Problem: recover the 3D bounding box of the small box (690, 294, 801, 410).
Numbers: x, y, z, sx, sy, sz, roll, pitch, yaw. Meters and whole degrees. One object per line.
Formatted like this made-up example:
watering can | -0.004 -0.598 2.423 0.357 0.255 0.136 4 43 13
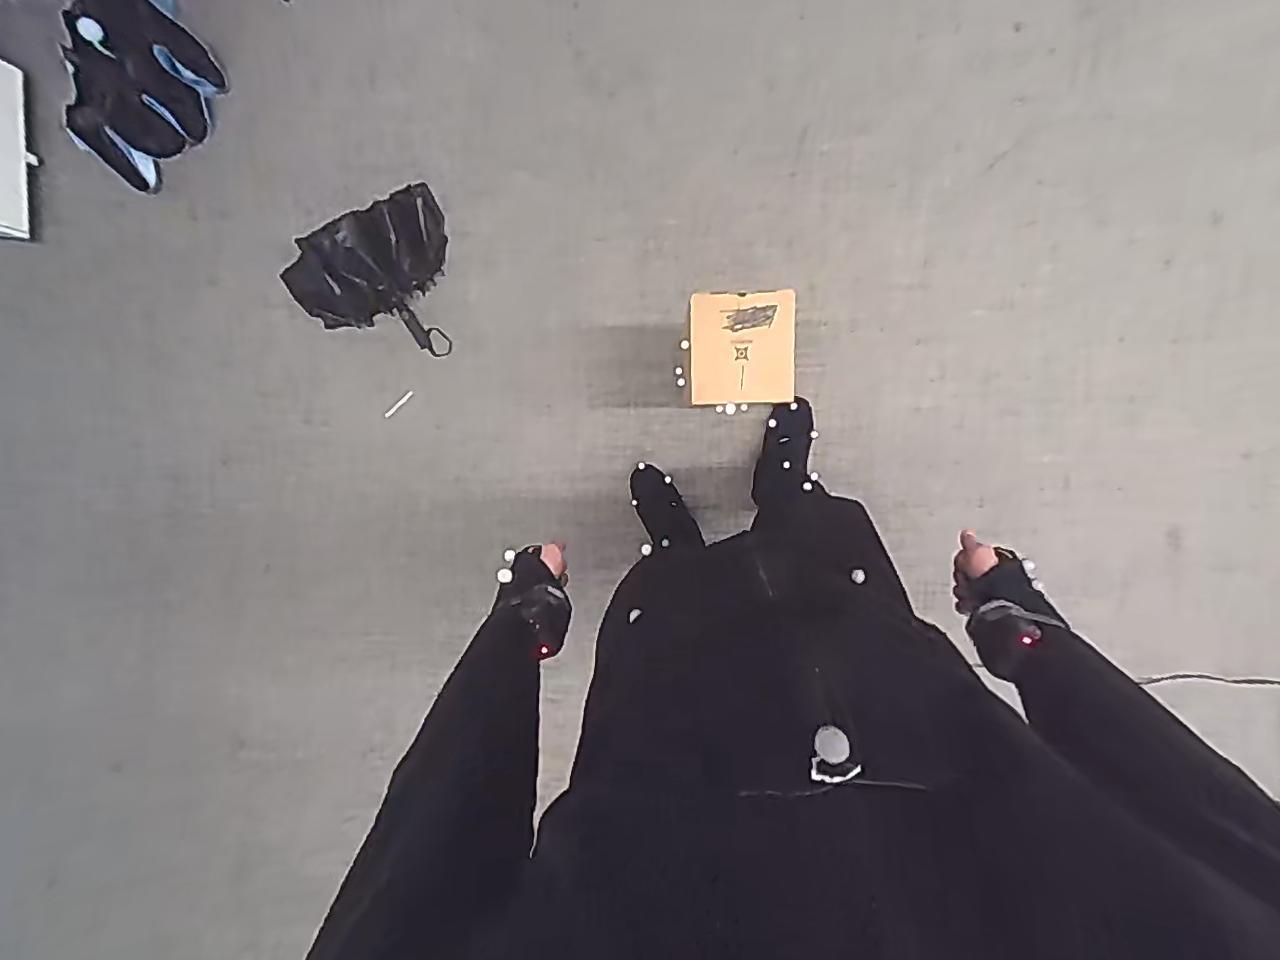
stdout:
small box | 0.172 -0.211 0.929 0.168 0.176 0.179 -1 97 4
